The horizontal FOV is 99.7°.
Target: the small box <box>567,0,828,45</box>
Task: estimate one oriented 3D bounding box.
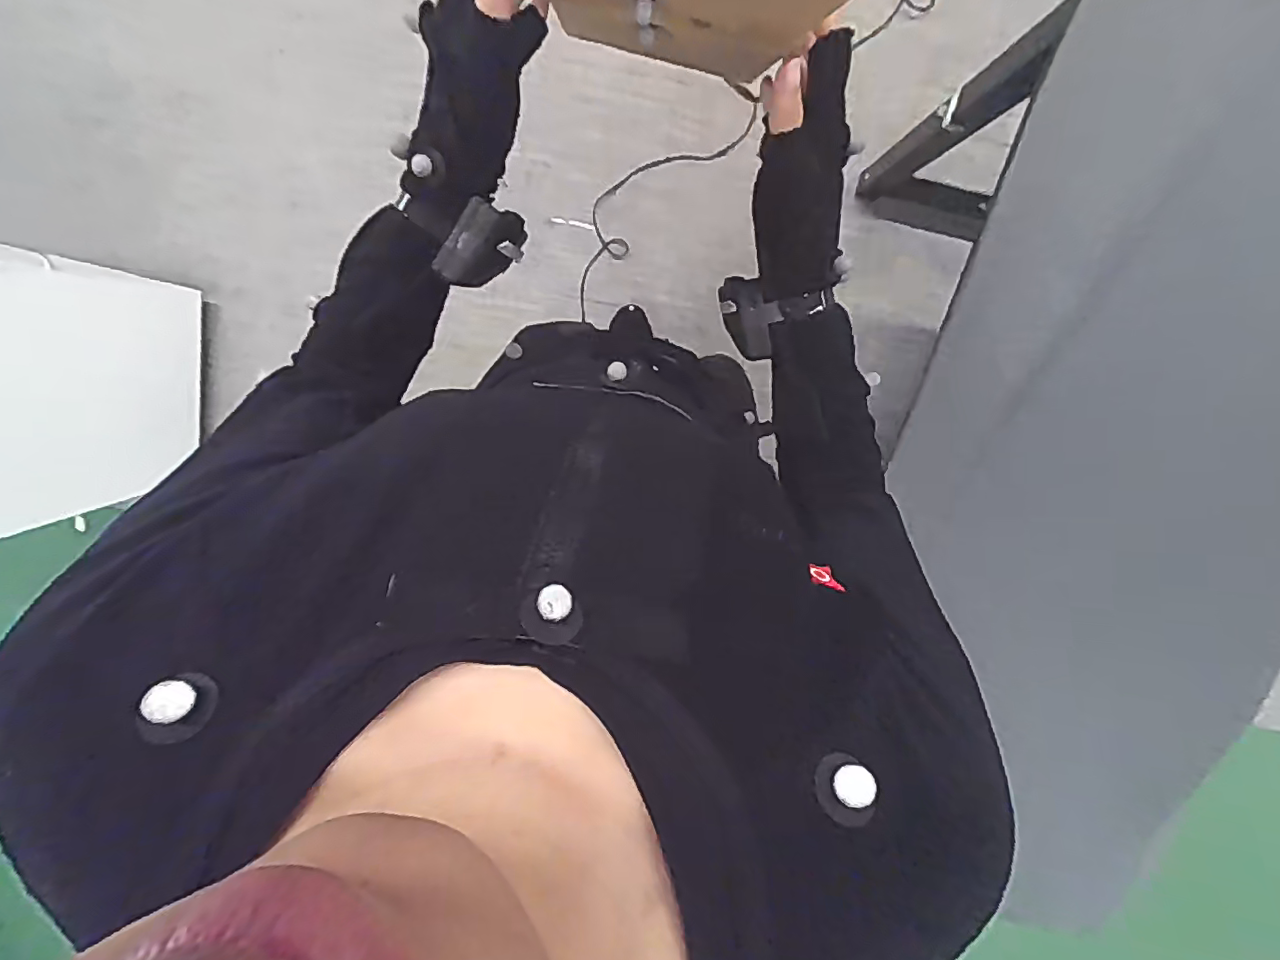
[{"bbox_3d":[0.027,-0.334,0.241,0.168,0.176,0.179,8,119,-6],"label":"small box"}]

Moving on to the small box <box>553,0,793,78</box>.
[{"bbox_3d":[0.030,-0.412,0.383,0.179,0.176,0.168,10,118,-7],"label":"small box"}]
